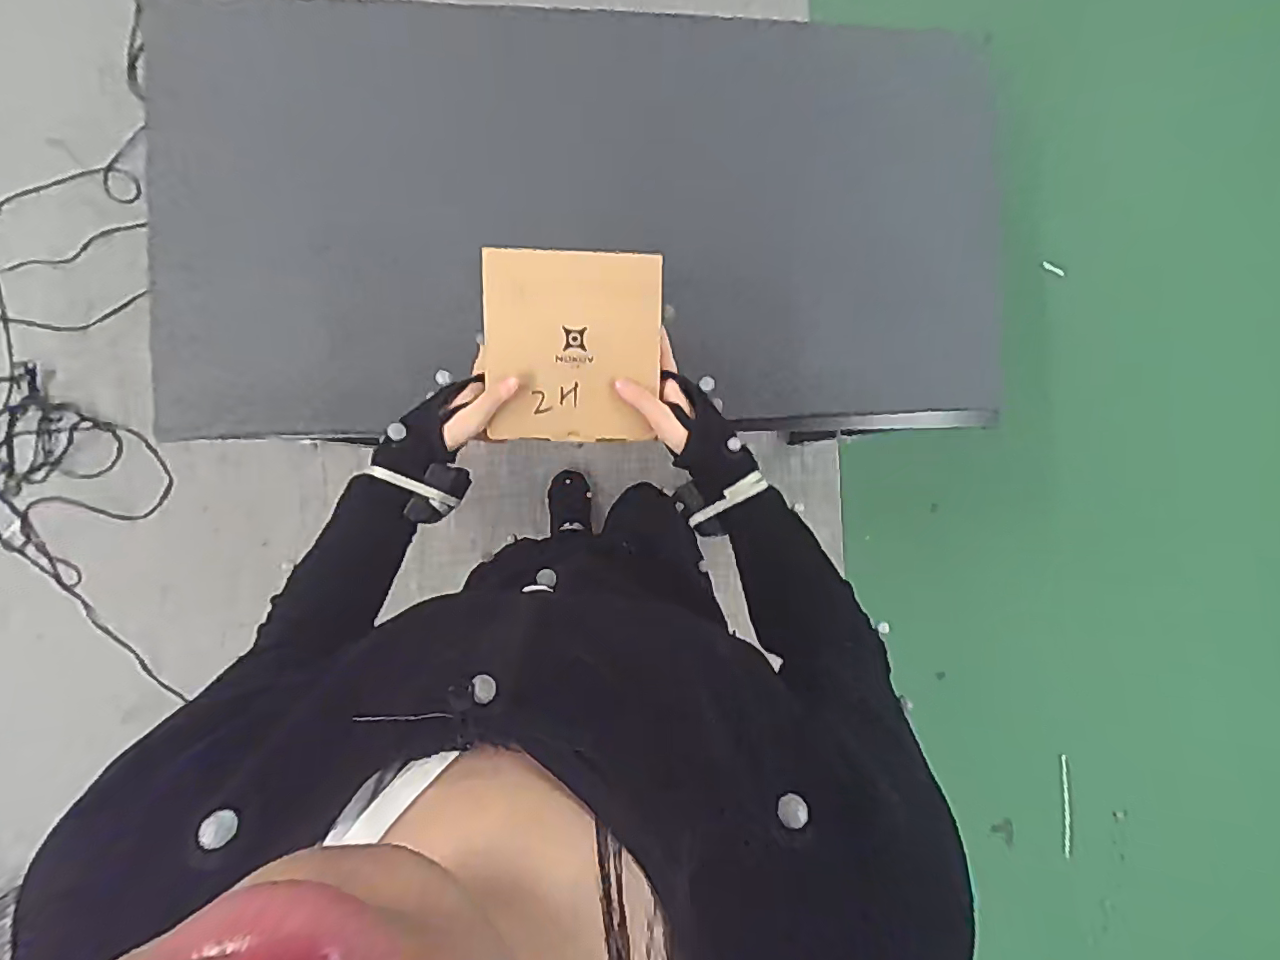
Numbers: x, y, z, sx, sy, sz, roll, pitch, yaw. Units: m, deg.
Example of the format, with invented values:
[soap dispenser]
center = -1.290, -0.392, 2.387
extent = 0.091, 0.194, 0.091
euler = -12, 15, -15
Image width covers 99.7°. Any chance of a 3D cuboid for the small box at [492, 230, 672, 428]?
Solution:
[small box]
center = -0.060, -0.148, 0.579
extent = 0.168, 0.176, 0.179
euler = 0, 99, -4
